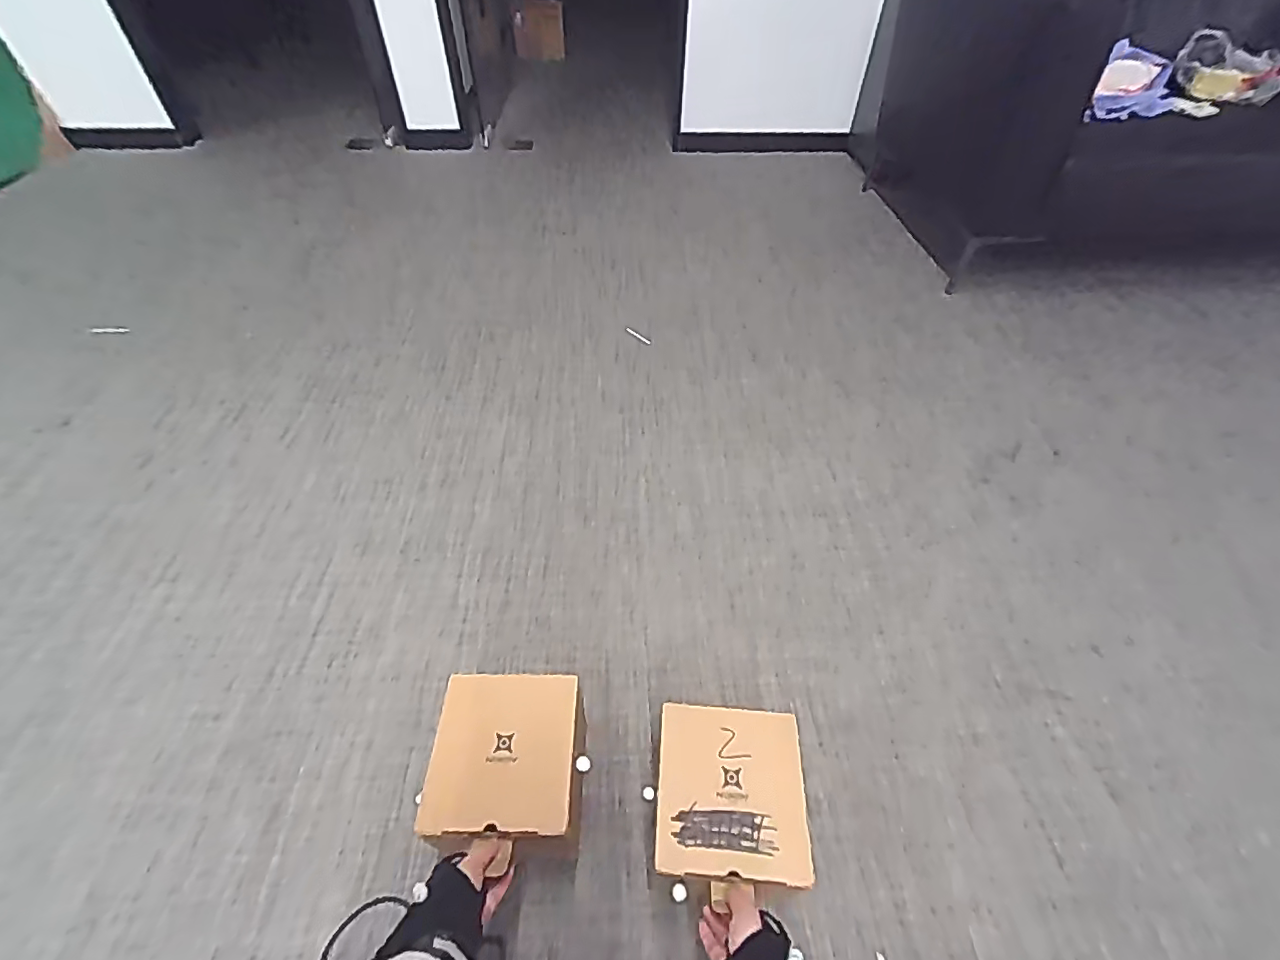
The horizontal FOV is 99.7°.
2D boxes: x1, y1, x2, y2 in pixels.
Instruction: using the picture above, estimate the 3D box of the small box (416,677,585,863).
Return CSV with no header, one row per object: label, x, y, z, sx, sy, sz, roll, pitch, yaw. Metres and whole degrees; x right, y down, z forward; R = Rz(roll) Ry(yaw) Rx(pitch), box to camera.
small box,-0.161,0.372,0.695,0.168,0.176,0.179,-1,47,0
